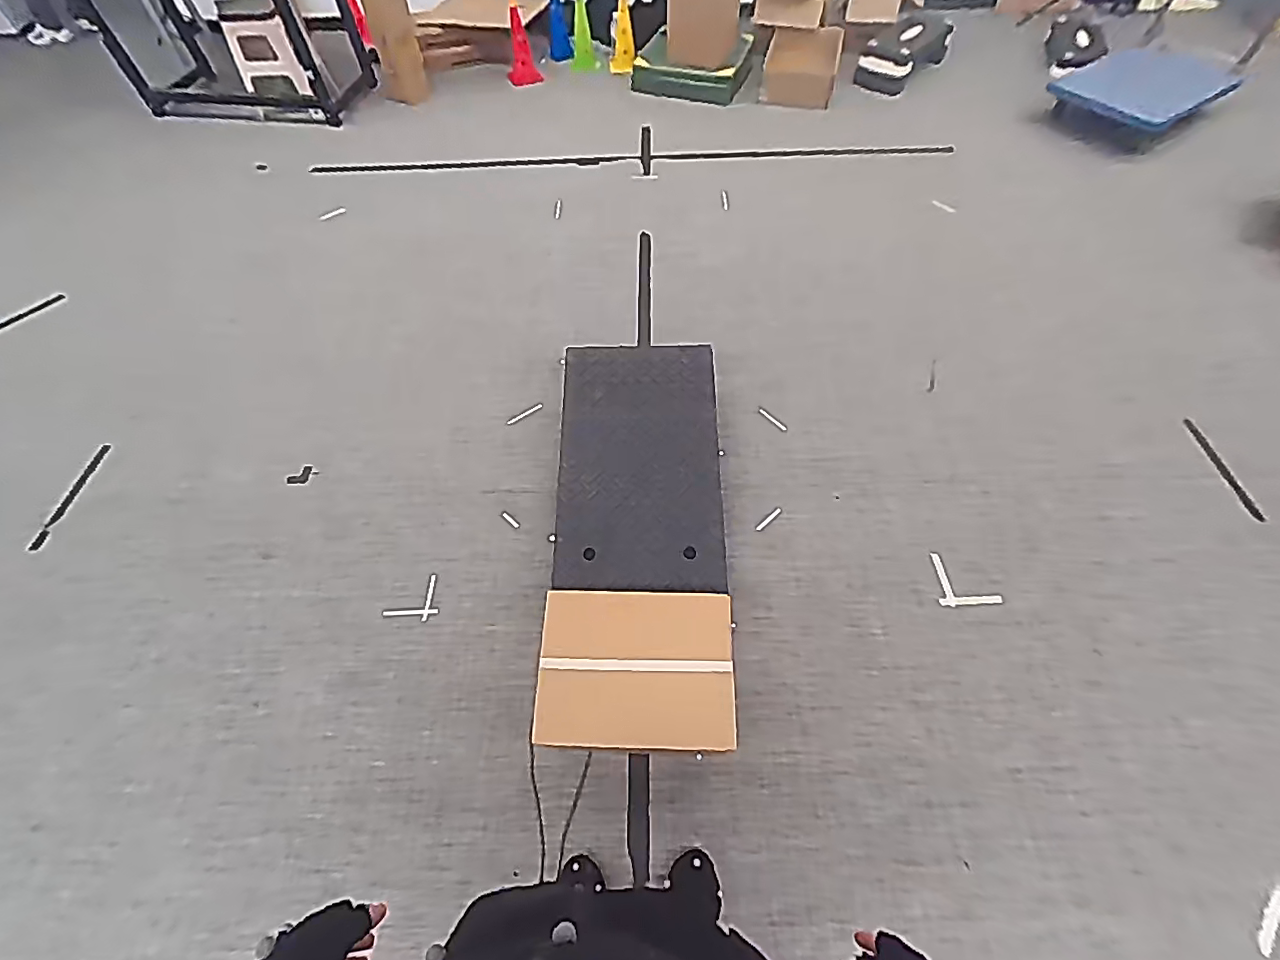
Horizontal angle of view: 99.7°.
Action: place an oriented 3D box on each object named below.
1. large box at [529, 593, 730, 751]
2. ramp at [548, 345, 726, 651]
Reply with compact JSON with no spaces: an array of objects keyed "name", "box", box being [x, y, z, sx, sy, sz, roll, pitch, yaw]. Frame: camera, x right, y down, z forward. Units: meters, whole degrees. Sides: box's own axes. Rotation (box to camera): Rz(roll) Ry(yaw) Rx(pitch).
[{"name":"large box","box":[-0.015,0.457,1.262,0.408,0.320,0.320,1,61,1]},{"name":"ramp","box":[-0.011,0.015,1.628,0.509,0.206,0.991,-1,57,-1]}]
